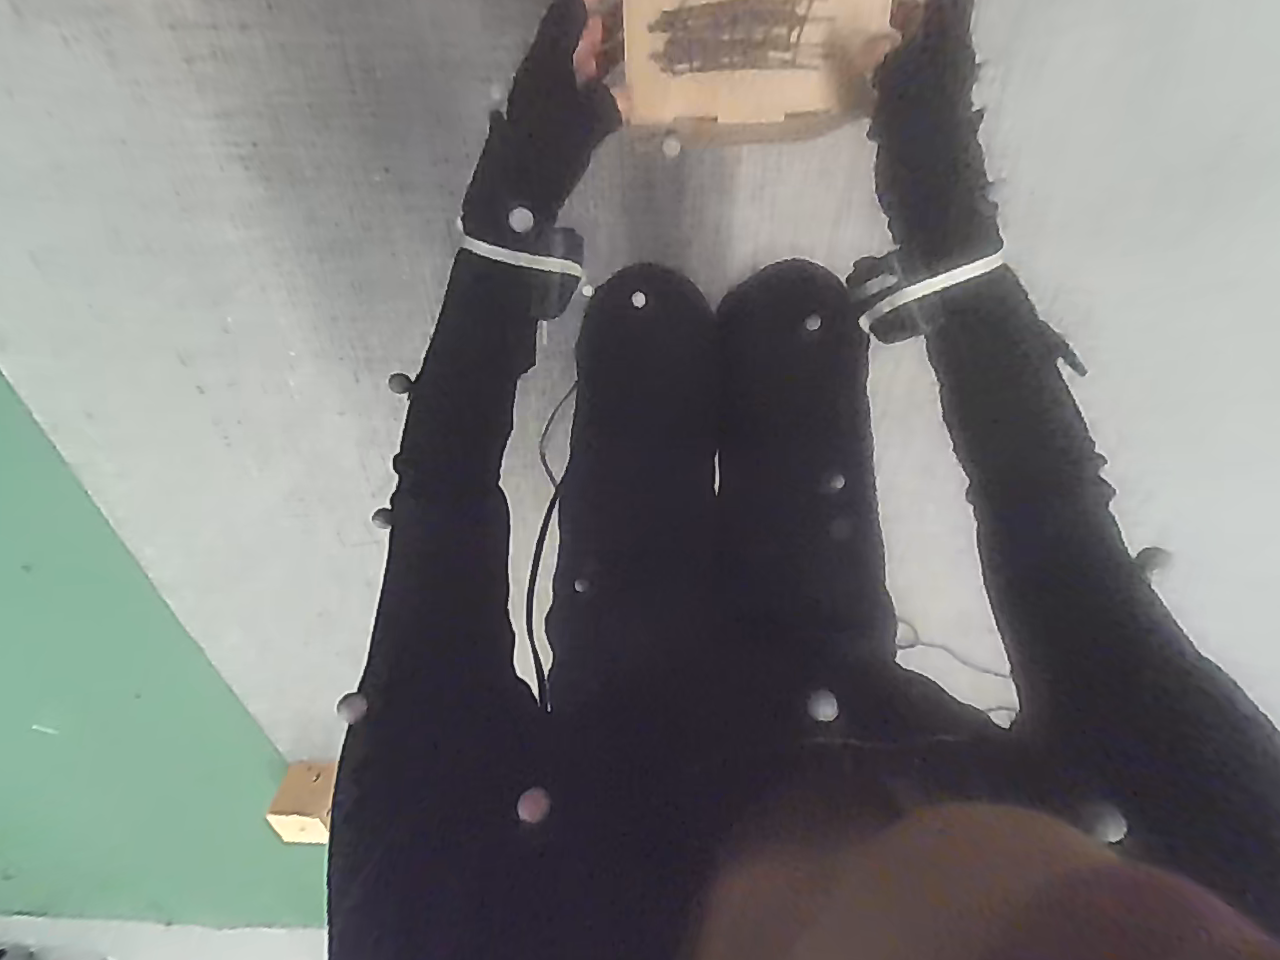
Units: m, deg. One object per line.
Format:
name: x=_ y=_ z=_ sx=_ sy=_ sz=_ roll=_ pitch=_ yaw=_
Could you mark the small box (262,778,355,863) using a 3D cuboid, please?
small box: x=-1.027 y=1.064 z=1.692 sx=0.168 sy=0.176 sz=0.179 roll=1 pitch=122 yaw=1
